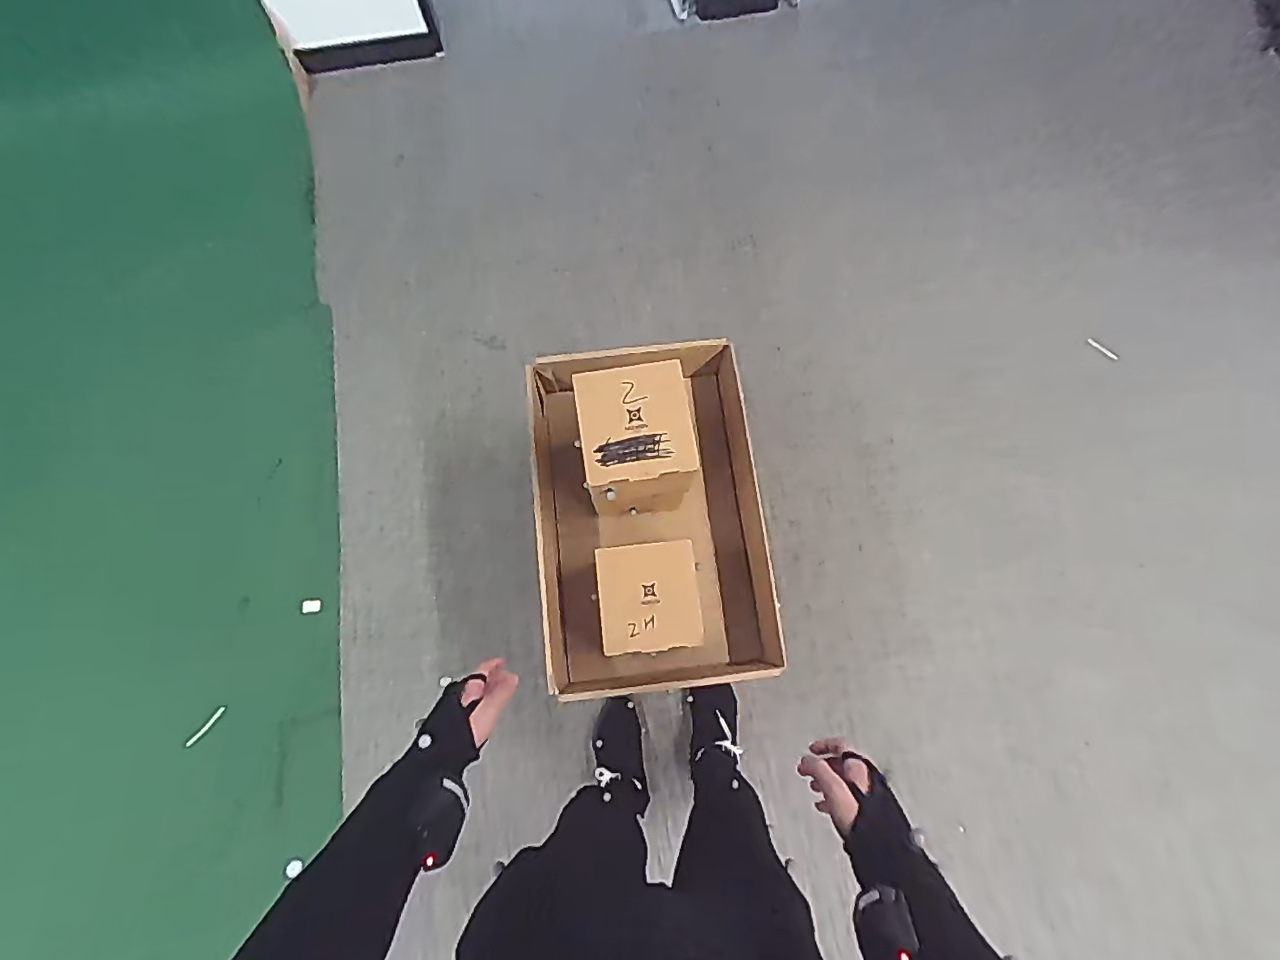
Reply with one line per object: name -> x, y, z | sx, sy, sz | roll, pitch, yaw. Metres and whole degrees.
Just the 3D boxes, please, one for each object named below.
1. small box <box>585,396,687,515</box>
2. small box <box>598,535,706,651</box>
small box -> -0.011, -0.040, 1.028 | 0.168, 0.176, 0.179 | -8, 78, -2
small box -> 0.017, 0.204, 0.960 | 0.168, 0.176, 0.179 | -6, 75, -1
